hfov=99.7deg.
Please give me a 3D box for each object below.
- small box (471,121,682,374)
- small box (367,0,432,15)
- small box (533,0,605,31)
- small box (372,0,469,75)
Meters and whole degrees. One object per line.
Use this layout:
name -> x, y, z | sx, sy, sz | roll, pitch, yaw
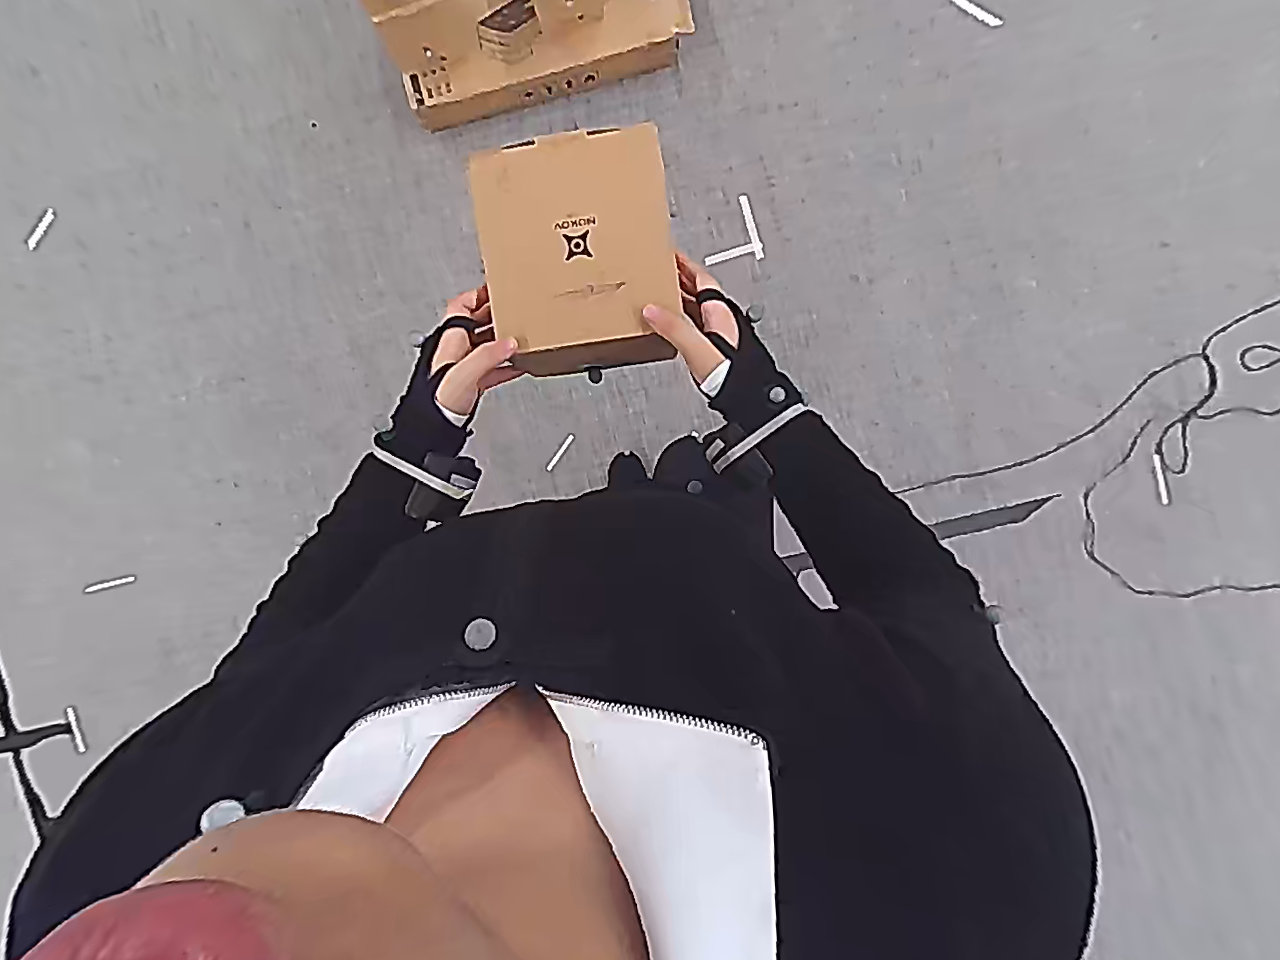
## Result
small box -> -0.053, -0.213, 0.541 | 0.168, 0.176, 0.179 | -8, 94, 2
small box -> -0.536, -1.123, 1.108 | 0.168, 0.176, 0.179 | -16, 92, 2
small box -> -0.187, -1.202, 1.262 | 0.168, 0.176, 0.179 | -16, 92, 4
small box -> -0.525, -1.113, 1.272 | 0.168, 0.176, 0.179 | -15, 91, 2
